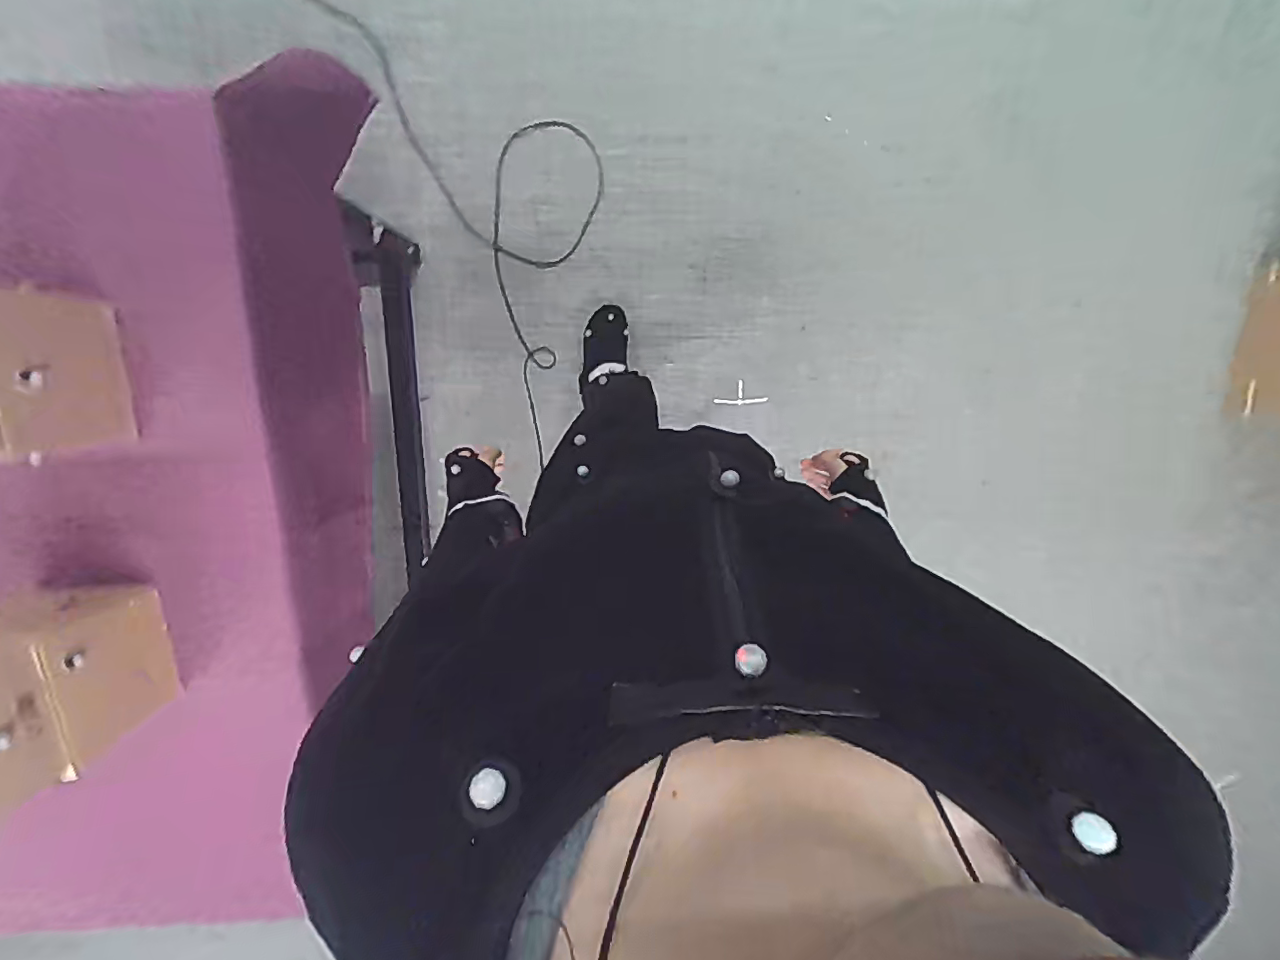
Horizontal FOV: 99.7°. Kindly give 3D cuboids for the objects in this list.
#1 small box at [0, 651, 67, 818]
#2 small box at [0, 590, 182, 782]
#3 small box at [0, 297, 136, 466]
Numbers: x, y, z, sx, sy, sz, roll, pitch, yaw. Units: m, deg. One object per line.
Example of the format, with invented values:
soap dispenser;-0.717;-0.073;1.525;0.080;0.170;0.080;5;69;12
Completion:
small box;-0.753;0.288;0.536;0.179;0.176;0.168;-4;102;-1
small box;-0.749;0.260;0.699;0.168;0.176;0.179;-5;101;-1
small box;-0.737;-0.116;0.621;0.168;0.176;0.179;0;101;-3
